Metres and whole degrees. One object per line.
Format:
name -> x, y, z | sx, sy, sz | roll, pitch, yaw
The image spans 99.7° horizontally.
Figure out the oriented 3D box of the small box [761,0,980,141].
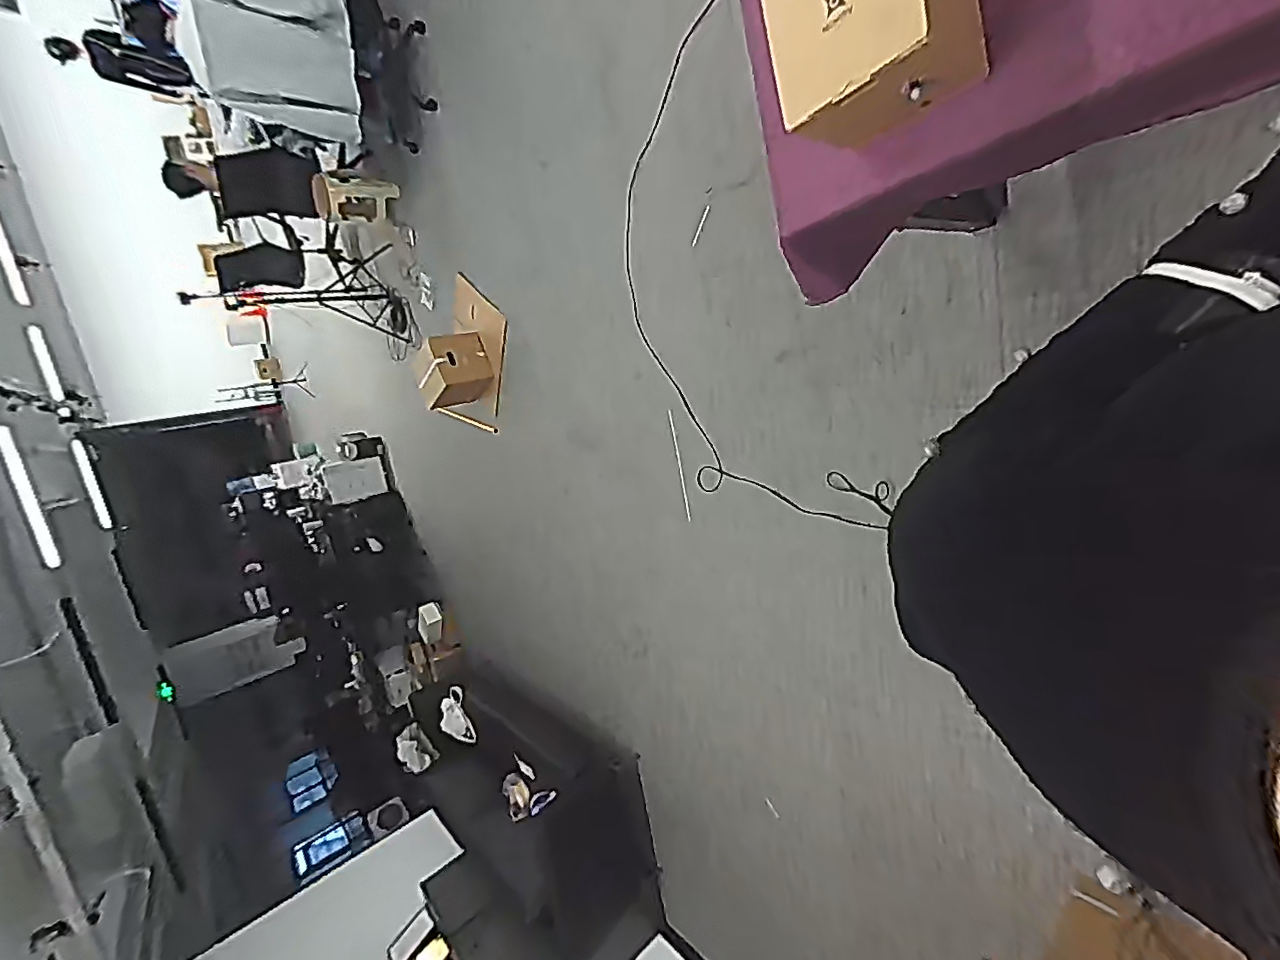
small box -> 0.266, -0.520, 0.621 | 0.168, 0.176, 0.179 | -4, 101, 50
